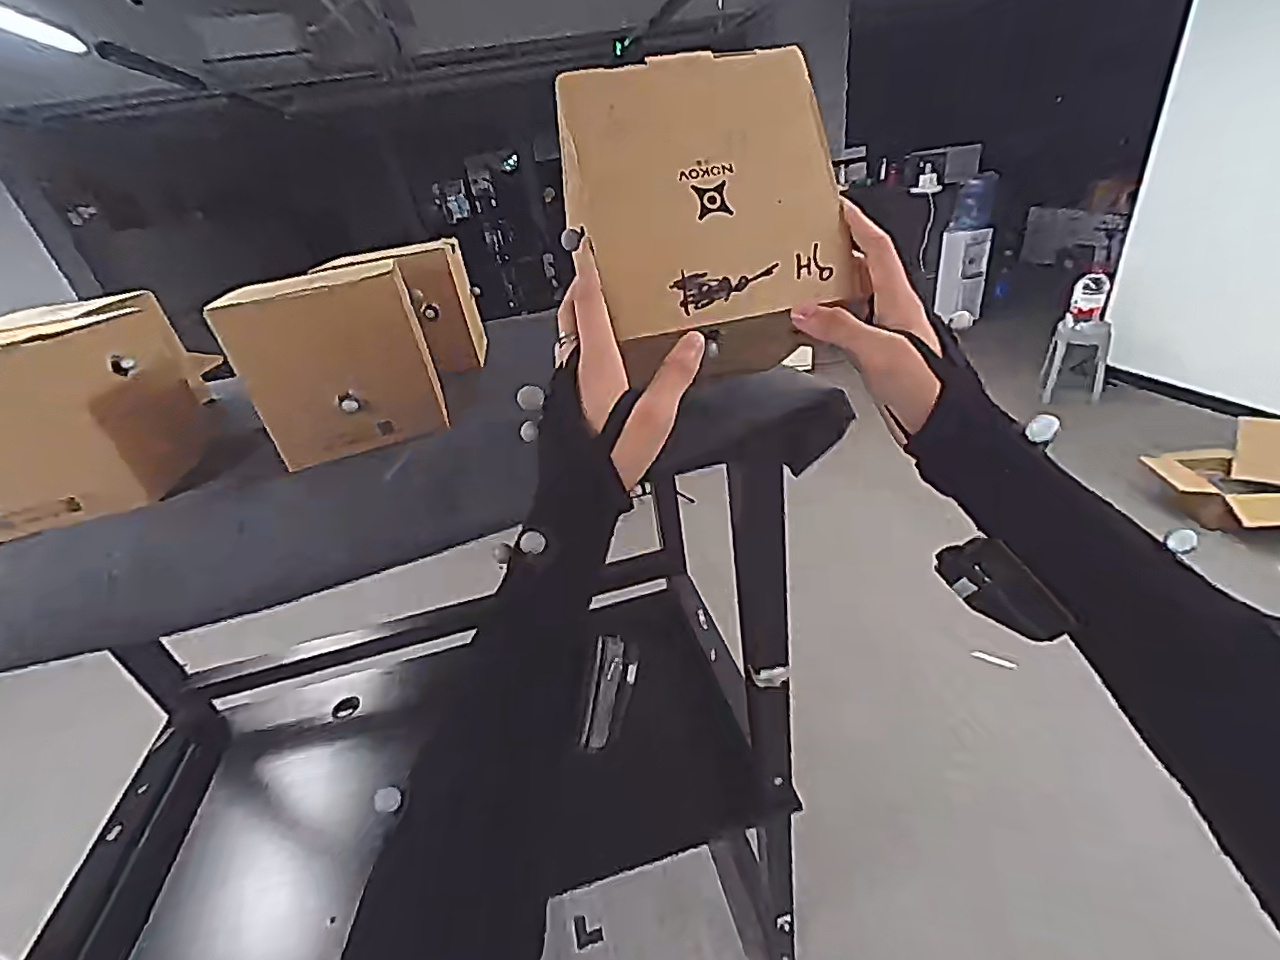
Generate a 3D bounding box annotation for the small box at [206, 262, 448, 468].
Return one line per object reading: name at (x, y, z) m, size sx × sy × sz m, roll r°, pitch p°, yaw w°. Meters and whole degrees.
small box at (-0.326, -0.134, 0.602) m, size 0.168 × 0.176 × 0.179 m, roll -19°, pitch 31°, yaw -15°

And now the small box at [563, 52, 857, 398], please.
small box at (0.036, -0.179, 0.423) m, size 0.168 × 0.179 × 0.176 m, roll -11°, pitch -4°, yaw -7°

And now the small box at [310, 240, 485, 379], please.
small box at (-0.336, -0.243, 0.793) m, size 0.179 × 0.176 × 0.168 m, roll -13°, pitch 29°, yaw -6°
